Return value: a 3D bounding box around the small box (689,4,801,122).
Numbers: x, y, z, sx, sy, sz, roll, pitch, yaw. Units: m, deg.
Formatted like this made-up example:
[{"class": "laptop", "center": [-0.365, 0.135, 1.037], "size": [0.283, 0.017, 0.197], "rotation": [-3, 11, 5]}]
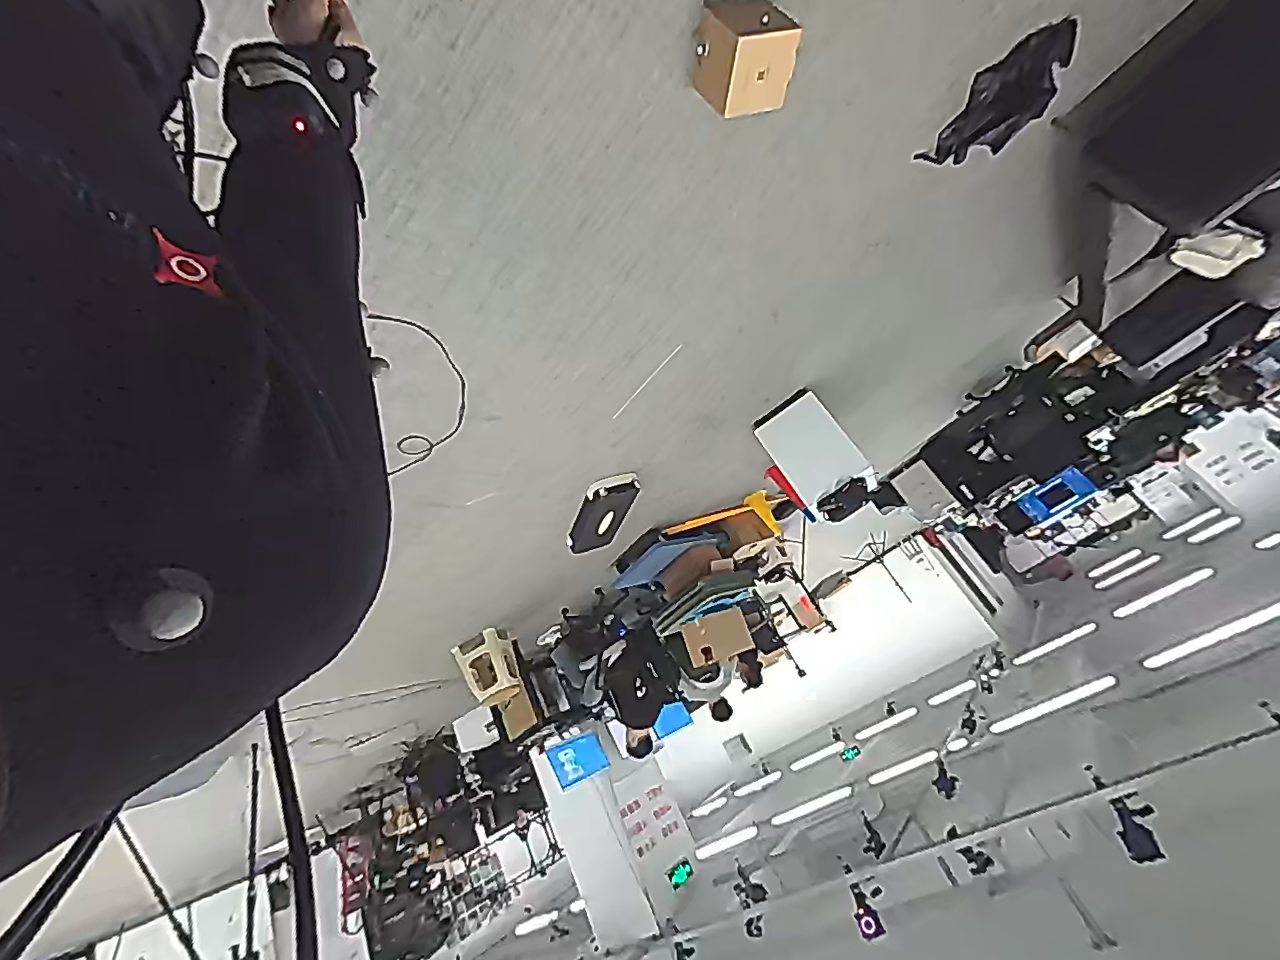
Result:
[{"class": "small box", "center": [0.240, -0.988, 1.278], "size": [0.179, 0.176, 0.168], "rotation": [-22, 153, -16]}]
